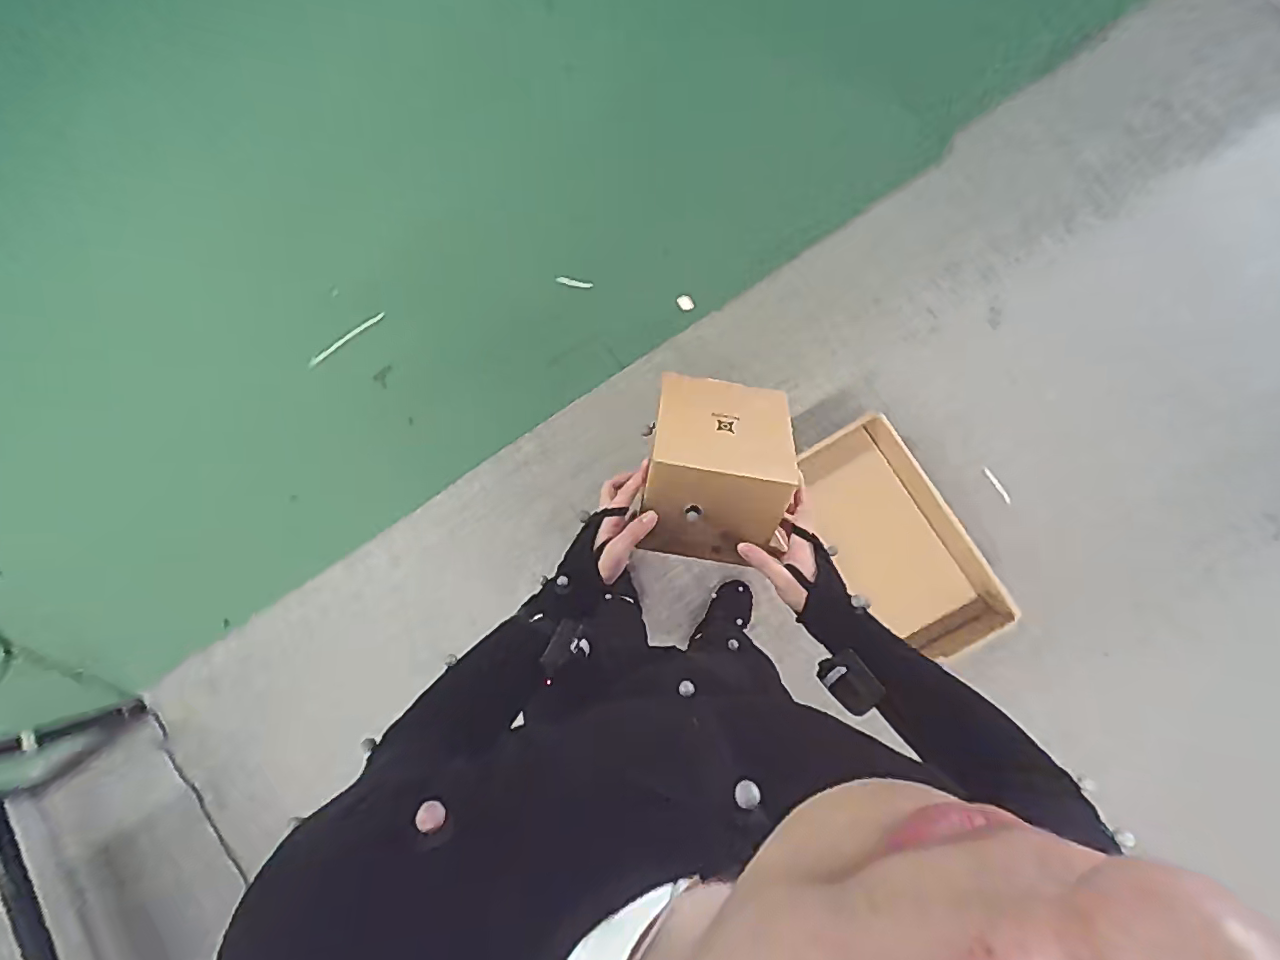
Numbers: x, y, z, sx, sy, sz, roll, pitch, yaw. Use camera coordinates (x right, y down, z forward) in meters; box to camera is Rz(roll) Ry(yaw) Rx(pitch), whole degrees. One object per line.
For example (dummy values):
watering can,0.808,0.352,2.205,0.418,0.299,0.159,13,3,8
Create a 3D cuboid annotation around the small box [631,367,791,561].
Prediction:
small box,0.082,-0.018,0.696,0.168,0.176,0.179,8,45,-1
